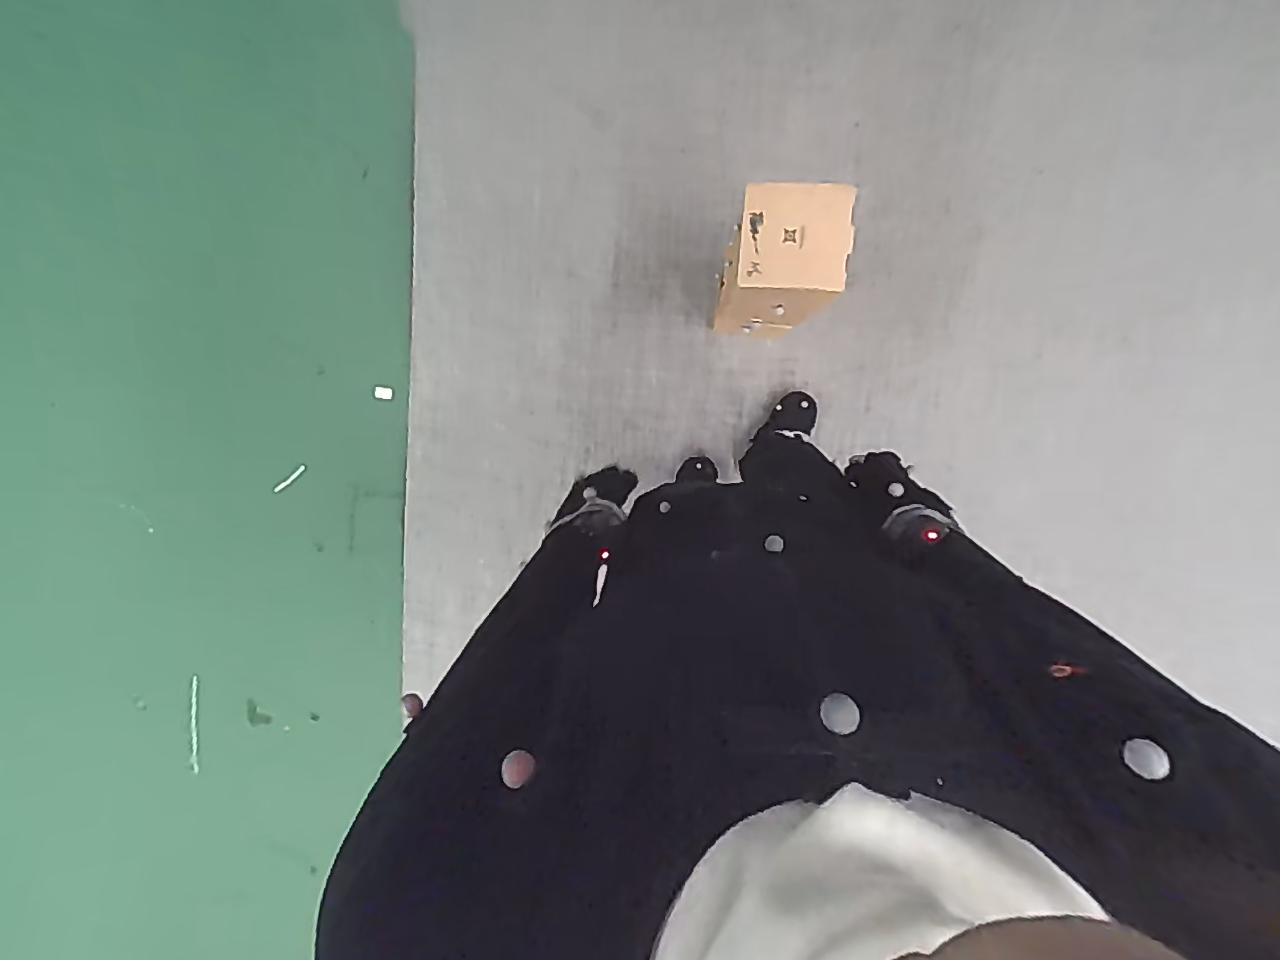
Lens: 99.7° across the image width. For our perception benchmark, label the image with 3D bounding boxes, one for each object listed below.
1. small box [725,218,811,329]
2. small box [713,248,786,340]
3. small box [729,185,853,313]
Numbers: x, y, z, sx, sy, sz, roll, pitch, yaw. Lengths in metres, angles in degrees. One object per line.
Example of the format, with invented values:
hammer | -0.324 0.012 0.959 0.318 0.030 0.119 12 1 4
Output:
small box | 0.268 -0.422 1.126 0.168 0.176 0.179 6 97 7
small box | 0.270 -0.435 1.287 0.179 0.176 0.168 7 97 4
small box | 0.258 -0.401 0.963 0.179 0.176 0.168 6 96 6
